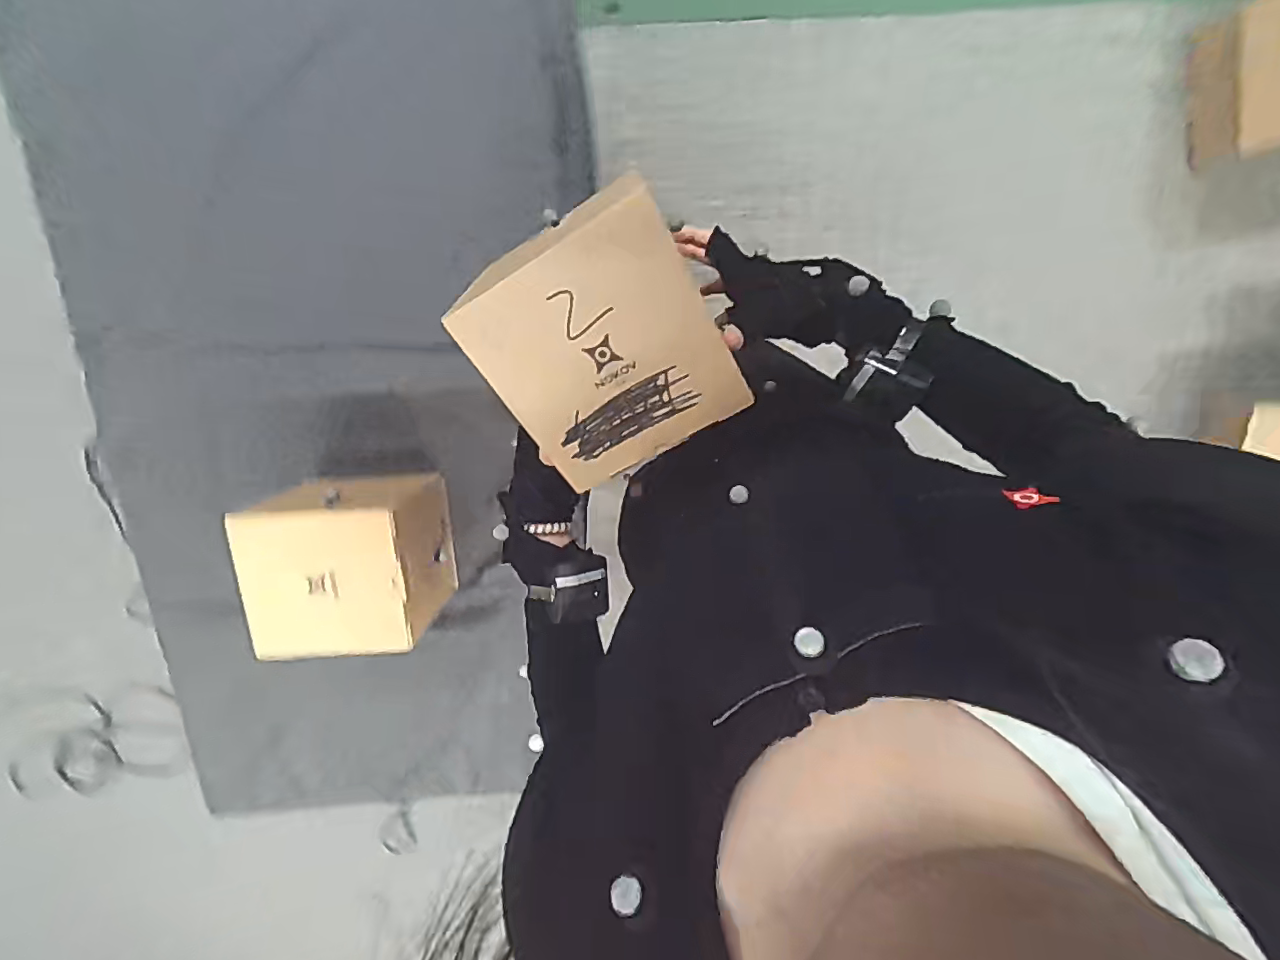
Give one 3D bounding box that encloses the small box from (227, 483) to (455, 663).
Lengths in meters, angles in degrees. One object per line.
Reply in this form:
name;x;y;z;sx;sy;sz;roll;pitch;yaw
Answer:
small box;-0.346;0.103;0.662;0.179;0.176;0.168;-3;103;-1
